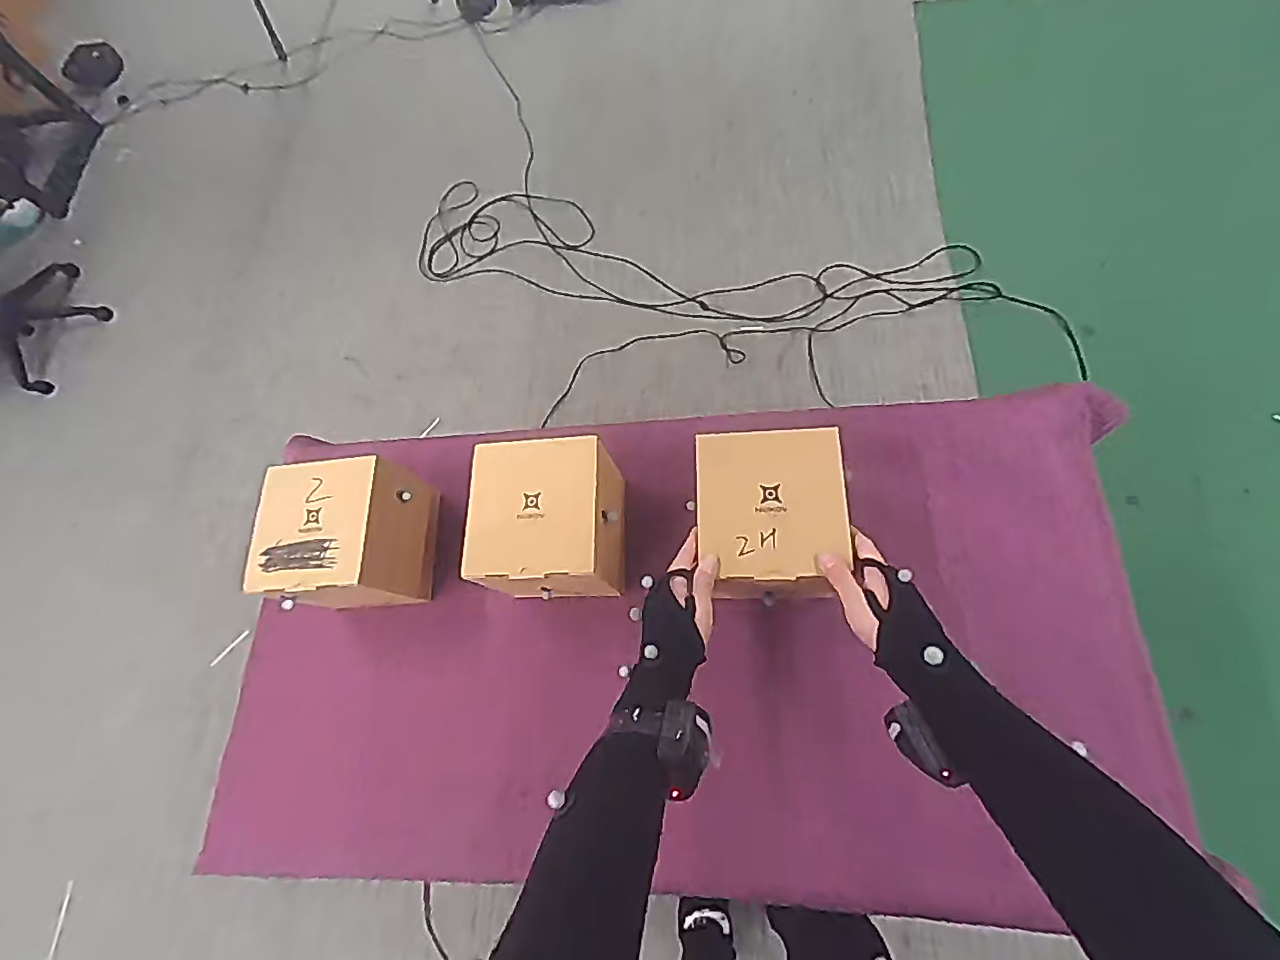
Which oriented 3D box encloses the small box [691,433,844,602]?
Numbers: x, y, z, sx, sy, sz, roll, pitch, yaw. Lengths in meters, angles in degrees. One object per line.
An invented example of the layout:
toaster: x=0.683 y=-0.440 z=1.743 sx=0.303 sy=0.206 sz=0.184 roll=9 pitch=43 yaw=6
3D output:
small box: x=0.153 y=0.055 z=0.686 sx=0.168 sy=0.176 sz=0.179 roll=-3 pitch=71 yaw=11

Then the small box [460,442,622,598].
small box: x=-0.123 y=0.063 z=0.741 sx=0.168 sy=0.176 sz=0.179 roll=-4 pitch=71 yaw=10
